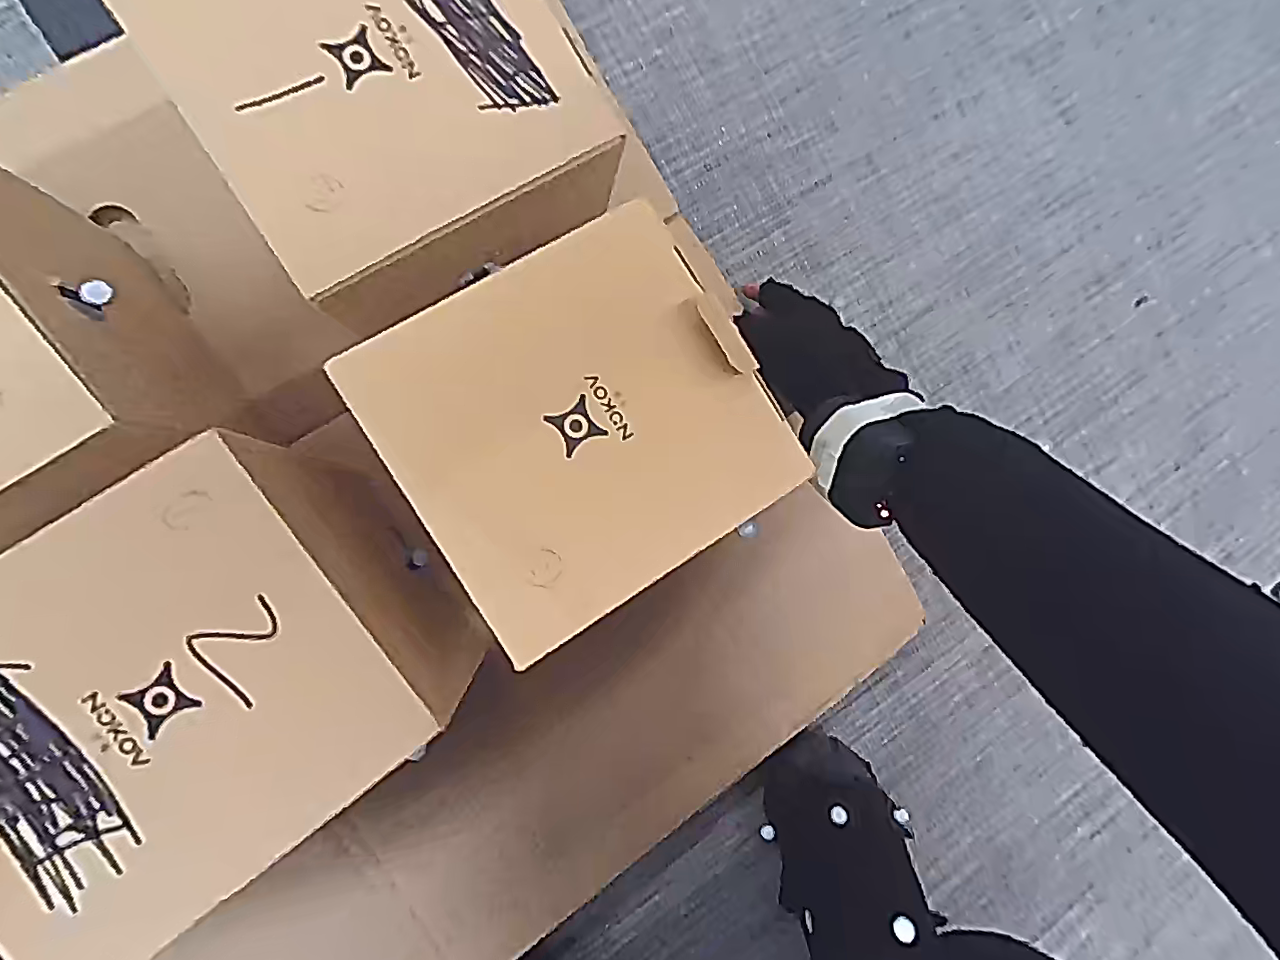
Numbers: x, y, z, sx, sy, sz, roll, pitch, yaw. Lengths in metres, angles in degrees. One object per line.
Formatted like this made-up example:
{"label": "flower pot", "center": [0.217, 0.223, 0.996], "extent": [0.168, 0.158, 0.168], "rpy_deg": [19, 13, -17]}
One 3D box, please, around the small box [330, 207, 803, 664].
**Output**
{"label": "small box", "center": [-0.040, -0.020, 0.338], "extent": [0.179, 0.176, 0.168], "rpy_deg": [-31, 91, -10]}

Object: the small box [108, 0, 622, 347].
{"label": "small box", "center": [-0.135, -0.191, 0.330], "extent": [0.179, 0.176, 0.168], "rpy_deg": [-31, 96, -8]}

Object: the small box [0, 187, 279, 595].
{"label": "small box", "center": [-0.349, -0.043, 0.294], "extent": [0.168, 0.176, 0.179], "rpy_deg": [-35, 95, -9]}
